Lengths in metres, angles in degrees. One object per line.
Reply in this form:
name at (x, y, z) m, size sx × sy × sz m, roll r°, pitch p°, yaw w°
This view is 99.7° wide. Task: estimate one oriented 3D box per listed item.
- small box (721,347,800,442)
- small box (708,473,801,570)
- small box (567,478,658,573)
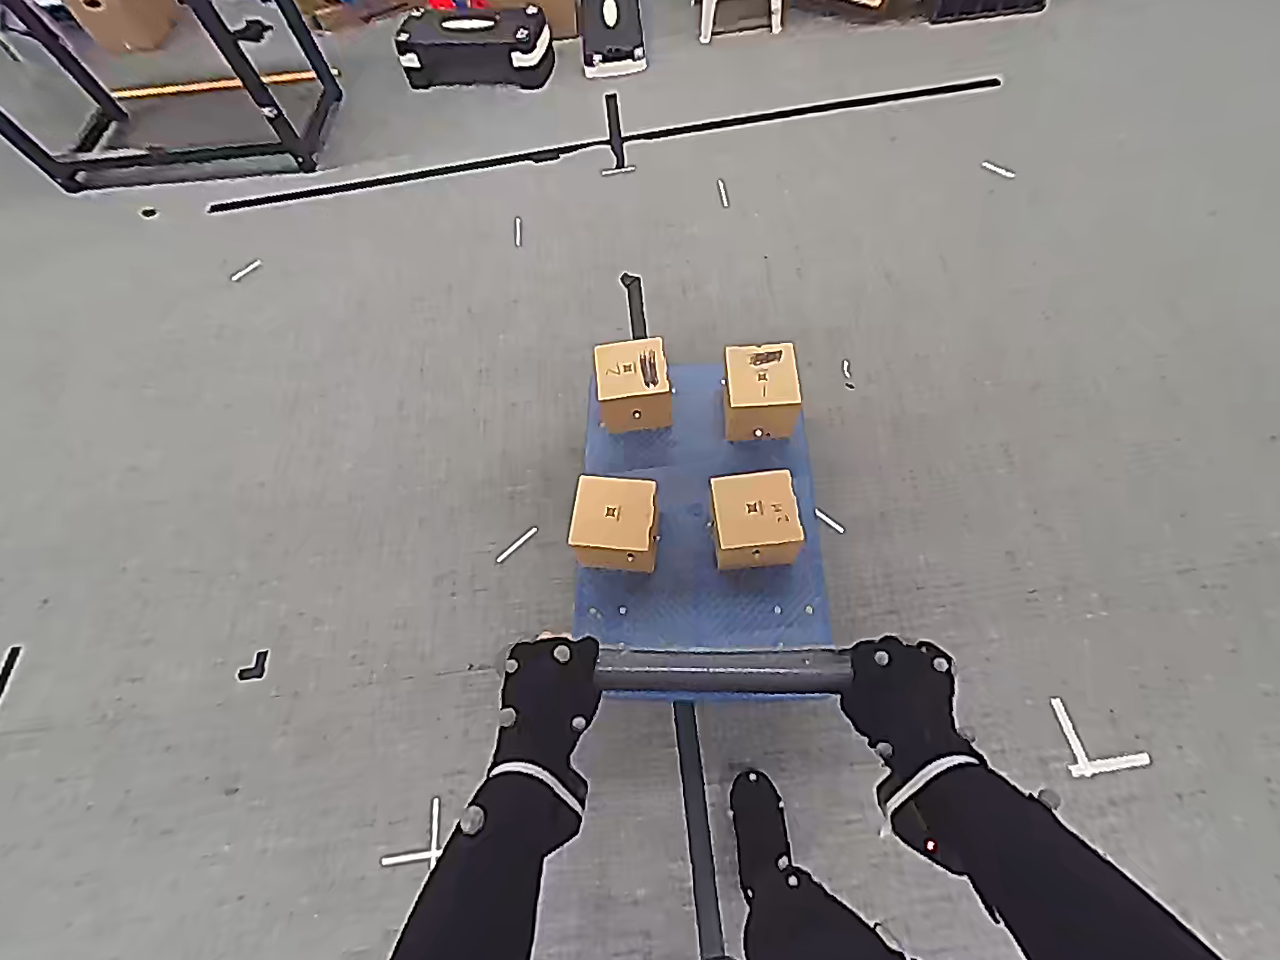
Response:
small box at (0.295, -0.213, 1.365) m, size 0.168 × 0.176 × 0.179 m, roll -3°, pitch 66°, yaw 4°
small box at (0.250, 0.100, 1.226) m, size 0.179 × 0.176 × 0.168 m, roll -6°, pitch 65°, yaw 3°
small box at (-0.055, 0.110, 1.251) m, size 0.179 × 0.176 × 0.168 m, roll 5°, pitch 66°, yaw 6°
